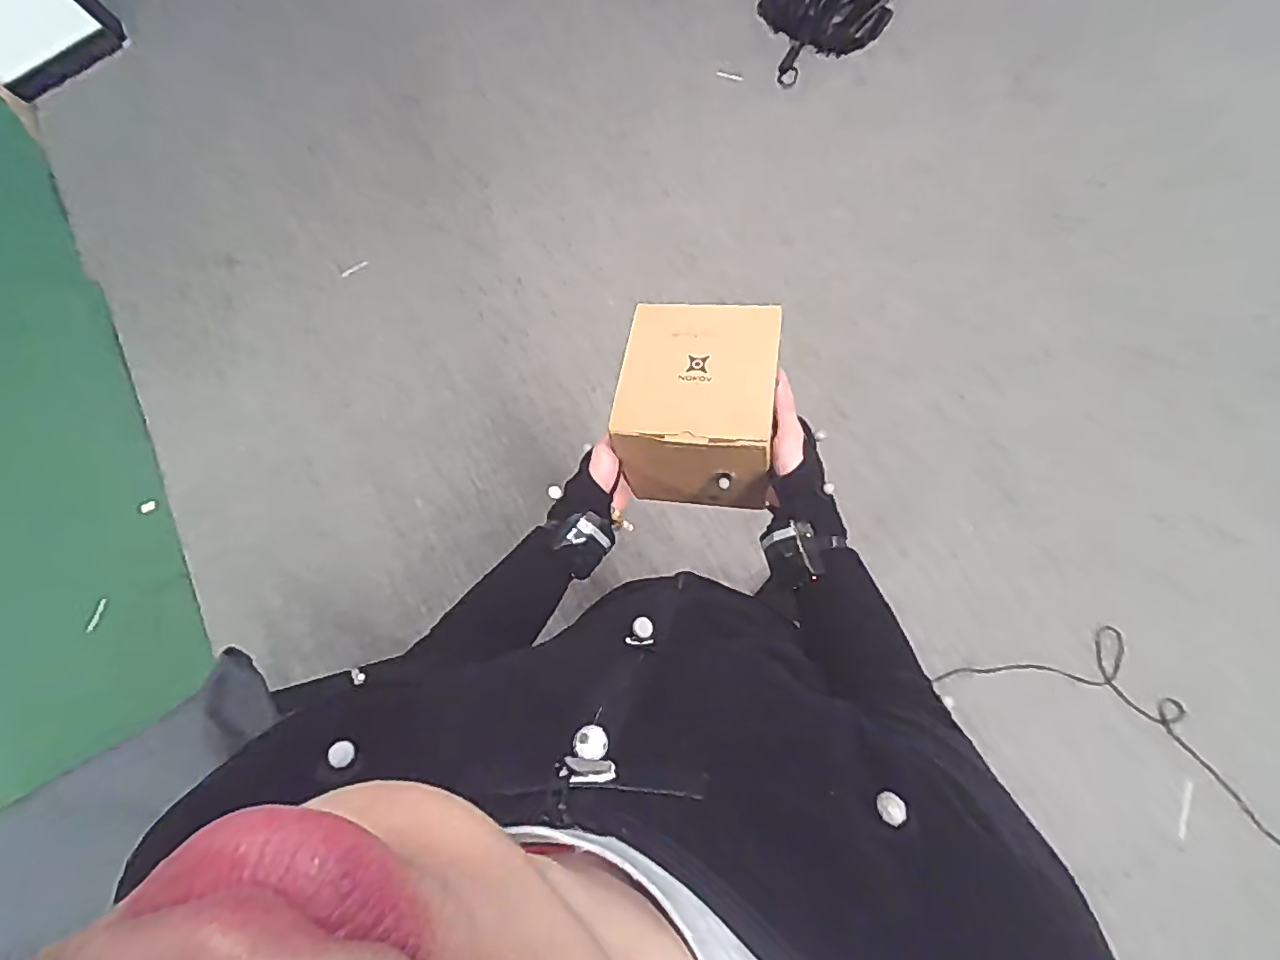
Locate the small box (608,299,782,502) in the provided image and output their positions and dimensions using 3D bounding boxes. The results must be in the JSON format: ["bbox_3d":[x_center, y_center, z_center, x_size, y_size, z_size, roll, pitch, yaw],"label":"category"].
[{"bbox_3d":[0.072,-0.088,0.641,0.168,0.176,0.179,6,64,12],"label":"small box"}]
